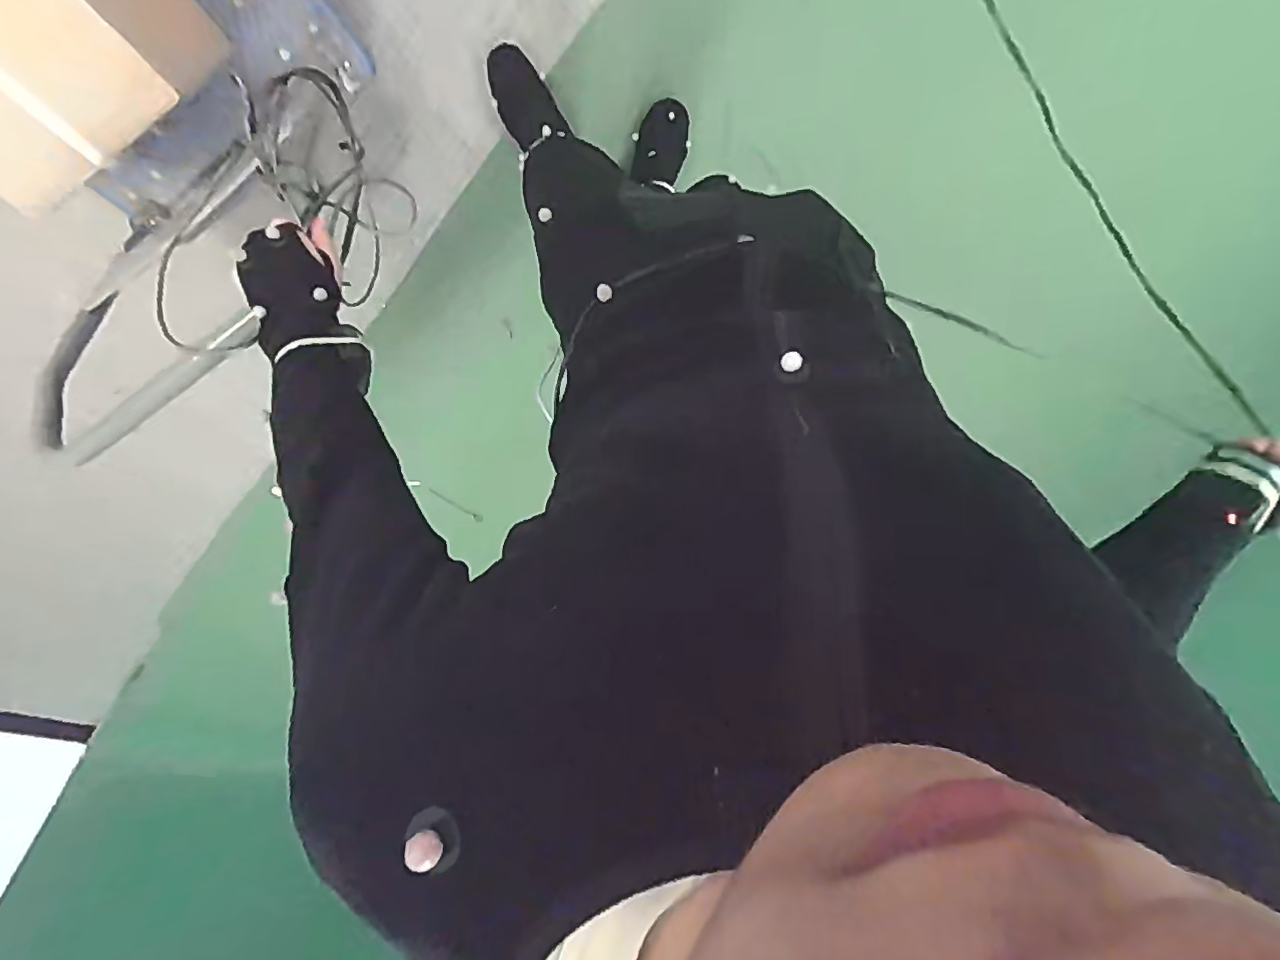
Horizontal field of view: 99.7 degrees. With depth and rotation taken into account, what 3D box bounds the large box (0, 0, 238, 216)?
[{"bbox_3d":[-0.862,-0.657,0.708,0.320,0.320,0.408,-28,138,11],"label":"large box"}]
